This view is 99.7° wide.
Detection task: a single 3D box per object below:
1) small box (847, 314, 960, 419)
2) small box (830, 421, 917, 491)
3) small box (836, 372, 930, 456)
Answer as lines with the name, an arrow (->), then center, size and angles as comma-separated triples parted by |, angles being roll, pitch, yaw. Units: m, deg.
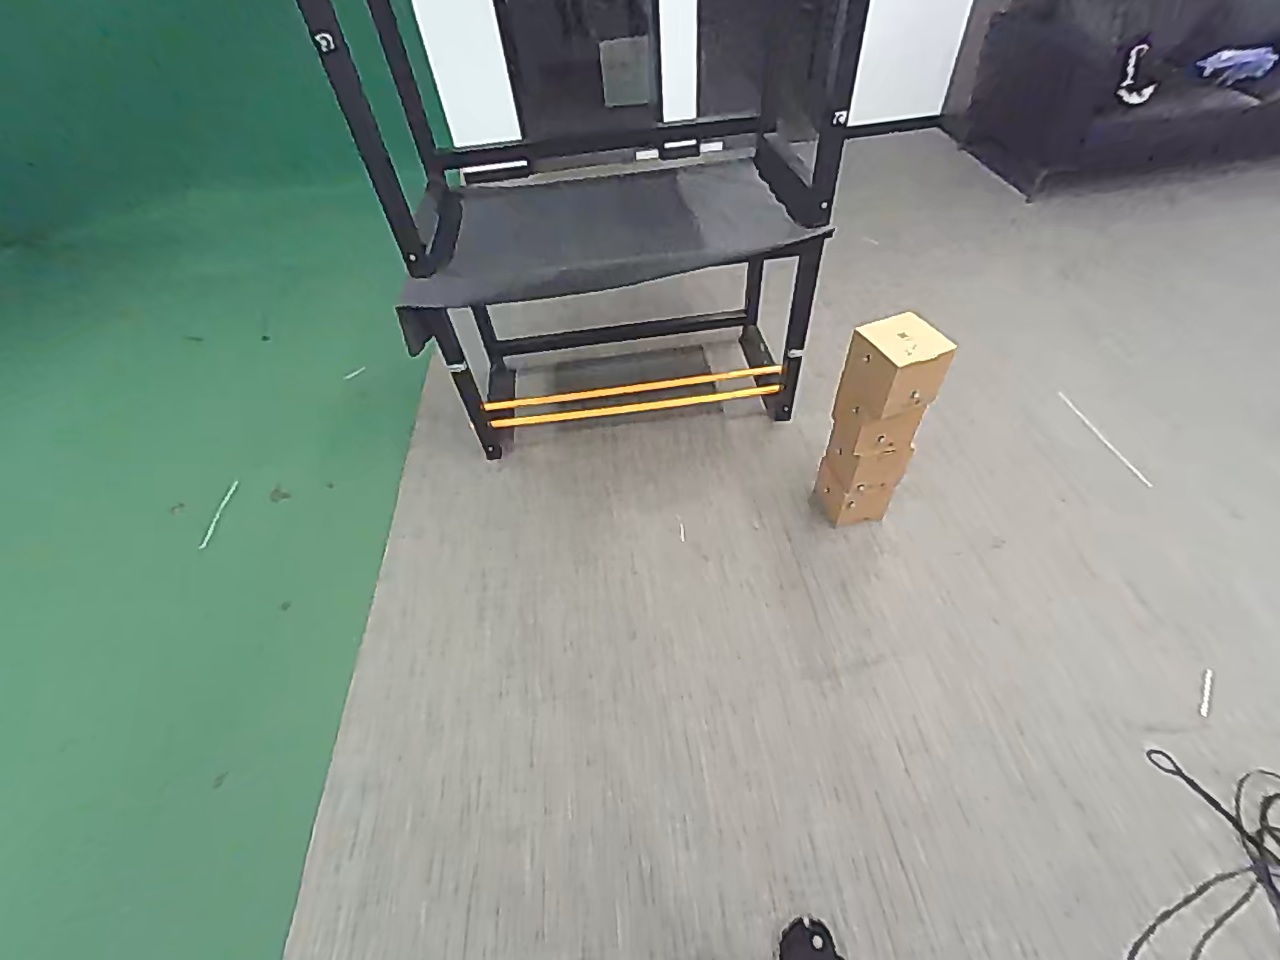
small box -> 0.649, -0.283, 1.359 | 0.168, 0.176, 0.179 | -18, 51, -9
small box -> 0.687, -0.081, 1.613 | 0.168, 0.176, 0.179 | -9, 48, -3
small box -> 0.661, -0.191, 1.494 | 0.168, 0.176, 0.179 | -8, 49, 0
